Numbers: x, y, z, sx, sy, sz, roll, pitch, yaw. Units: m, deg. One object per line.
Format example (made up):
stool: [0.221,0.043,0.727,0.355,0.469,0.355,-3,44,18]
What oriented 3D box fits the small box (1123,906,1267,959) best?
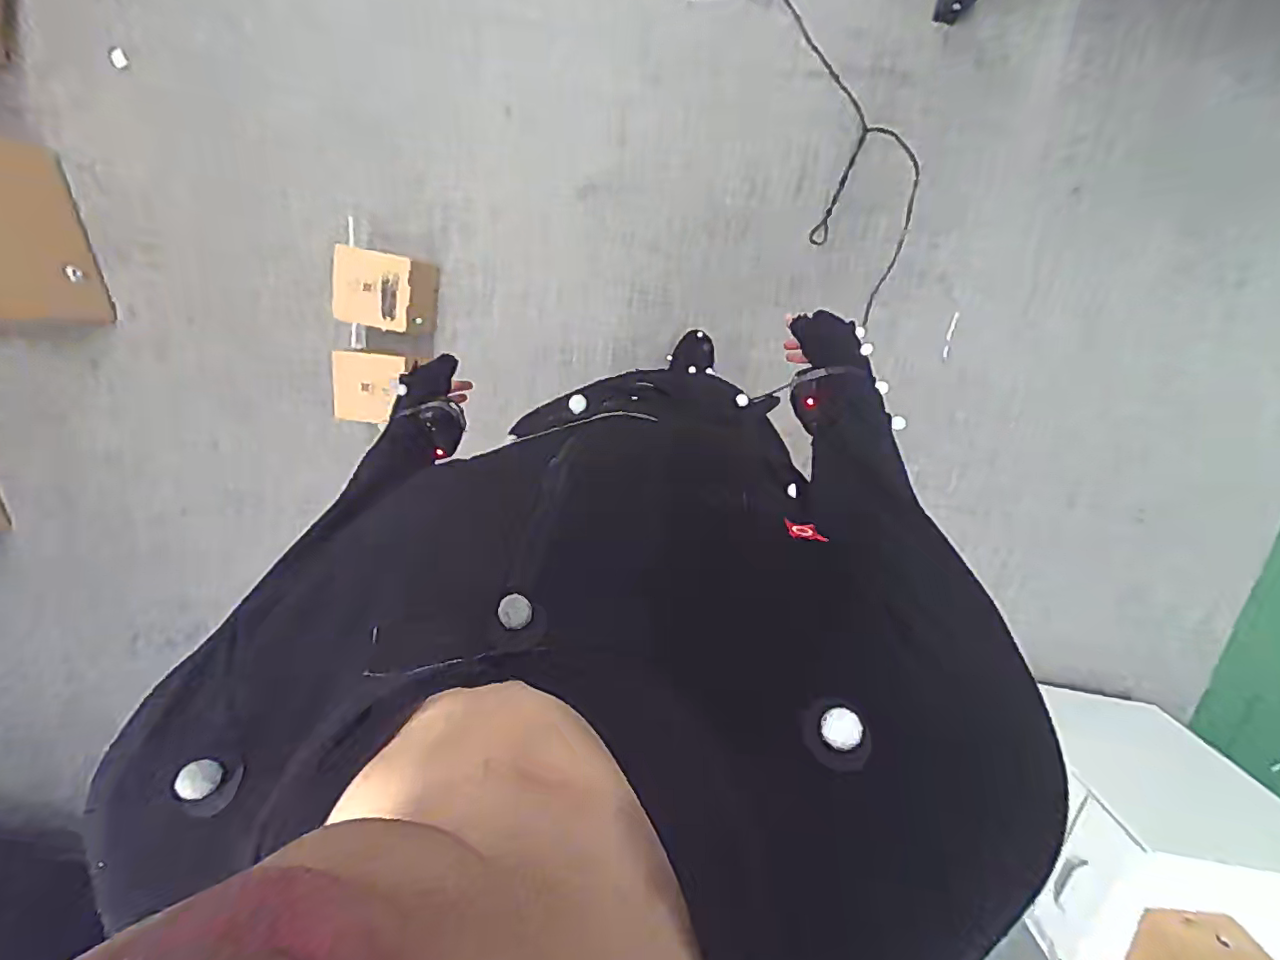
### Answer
small box: [1.042,0.931,0.984,0.168,0.176,0.179,4,105,1]

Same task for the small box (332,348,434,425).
small box: [-0.641,-0.241,1.361,0.179,0.176,0.168,6,106,1]
